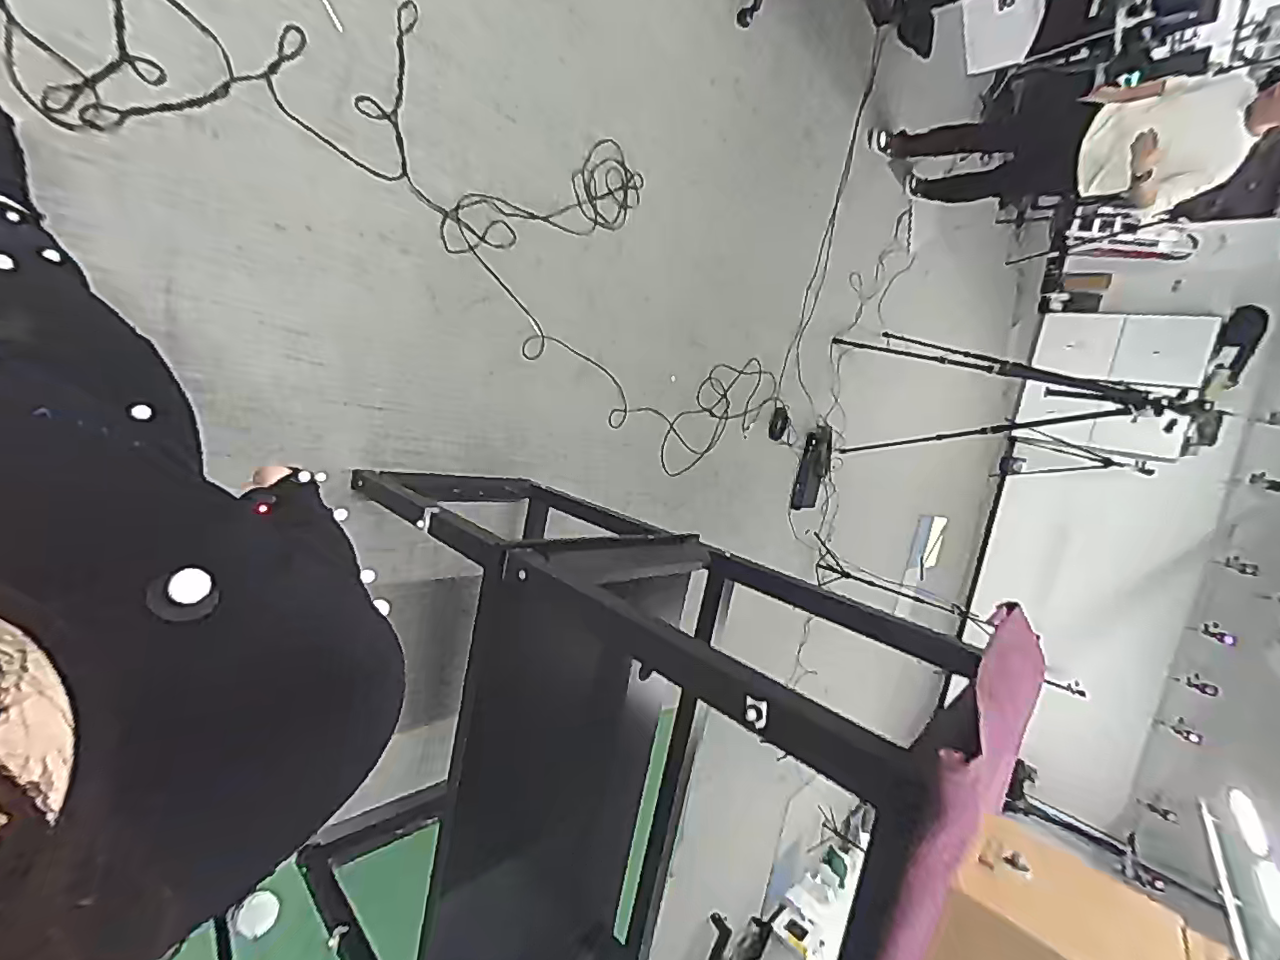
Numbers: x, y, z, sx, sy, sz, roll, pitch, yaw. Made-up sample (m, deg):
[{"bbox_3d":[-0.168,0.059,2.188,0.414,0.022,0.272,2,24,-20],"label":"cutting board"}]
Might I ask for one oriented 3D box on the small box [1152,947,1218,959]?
[{"bbox_3d":[0.481,0.513,0.406,0.168,0.176,0.179,-1,104,-47],"label":"small box"}]
